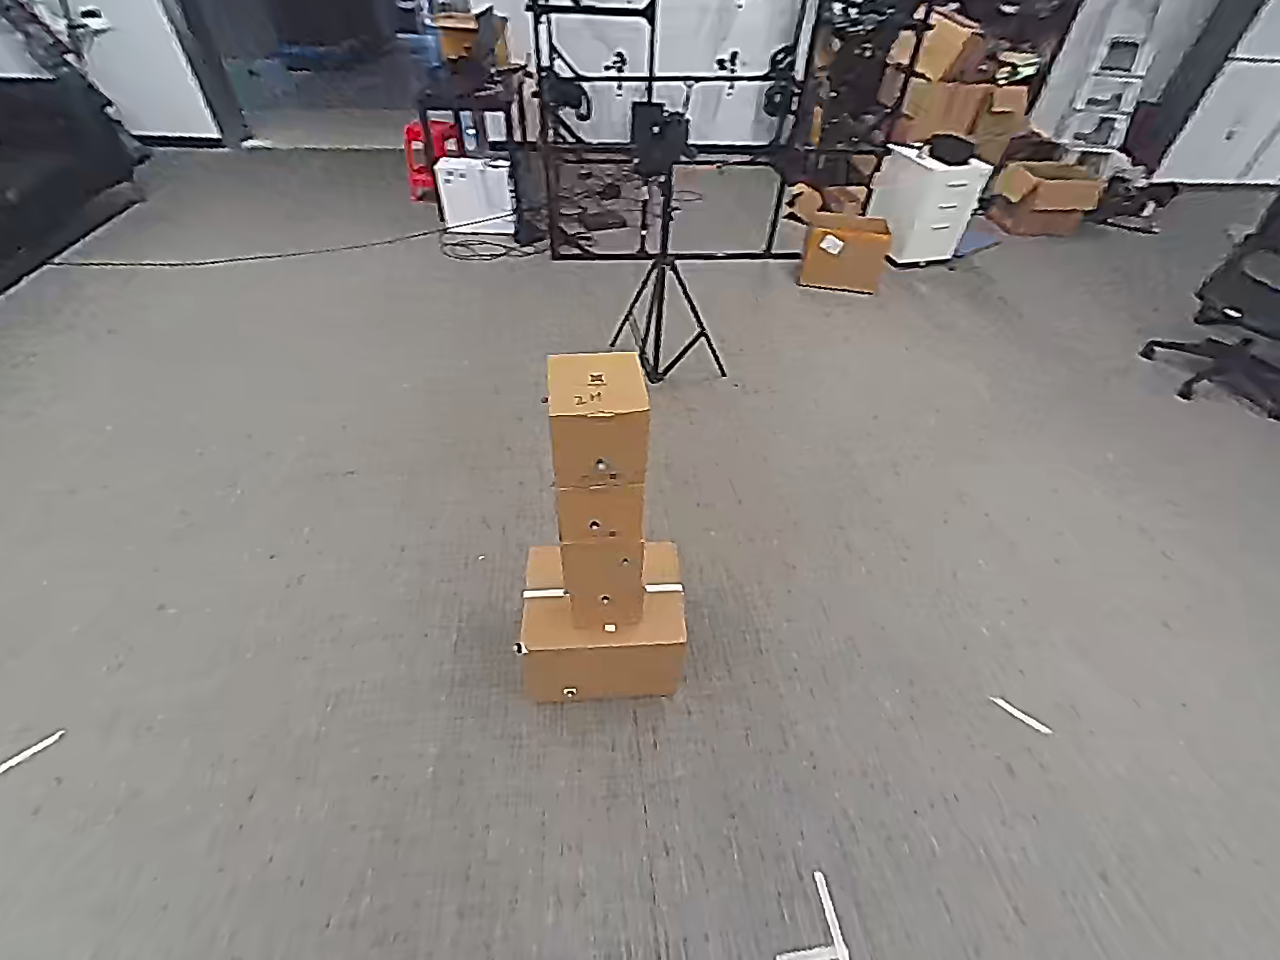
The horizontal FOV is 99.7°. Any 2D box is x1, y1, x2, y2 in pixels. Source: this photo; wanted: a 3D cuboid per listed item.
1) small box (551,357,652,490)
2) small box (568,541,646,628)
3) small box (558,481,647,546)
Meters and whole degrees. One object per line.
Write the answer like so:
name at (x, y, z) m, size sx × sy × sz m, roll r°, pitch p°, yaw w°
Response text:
small box at (-0.075, -0.103, 0.982) m, size 0.168 × 0.176 × 0.179 m, roll -4°, pitch 47°, yaw -6°
small box at (-0.083, 0.250, 1.325) m, size 0.179 × 0.176 × 0.168 m, roll -3°, pitch 47°, yaw -7°
small box at (-0.080, 0.014, 1.098) m, size 0.168 × 0.176 × 0.179 m, roll -3°, pitch 47°, yaw -6°
